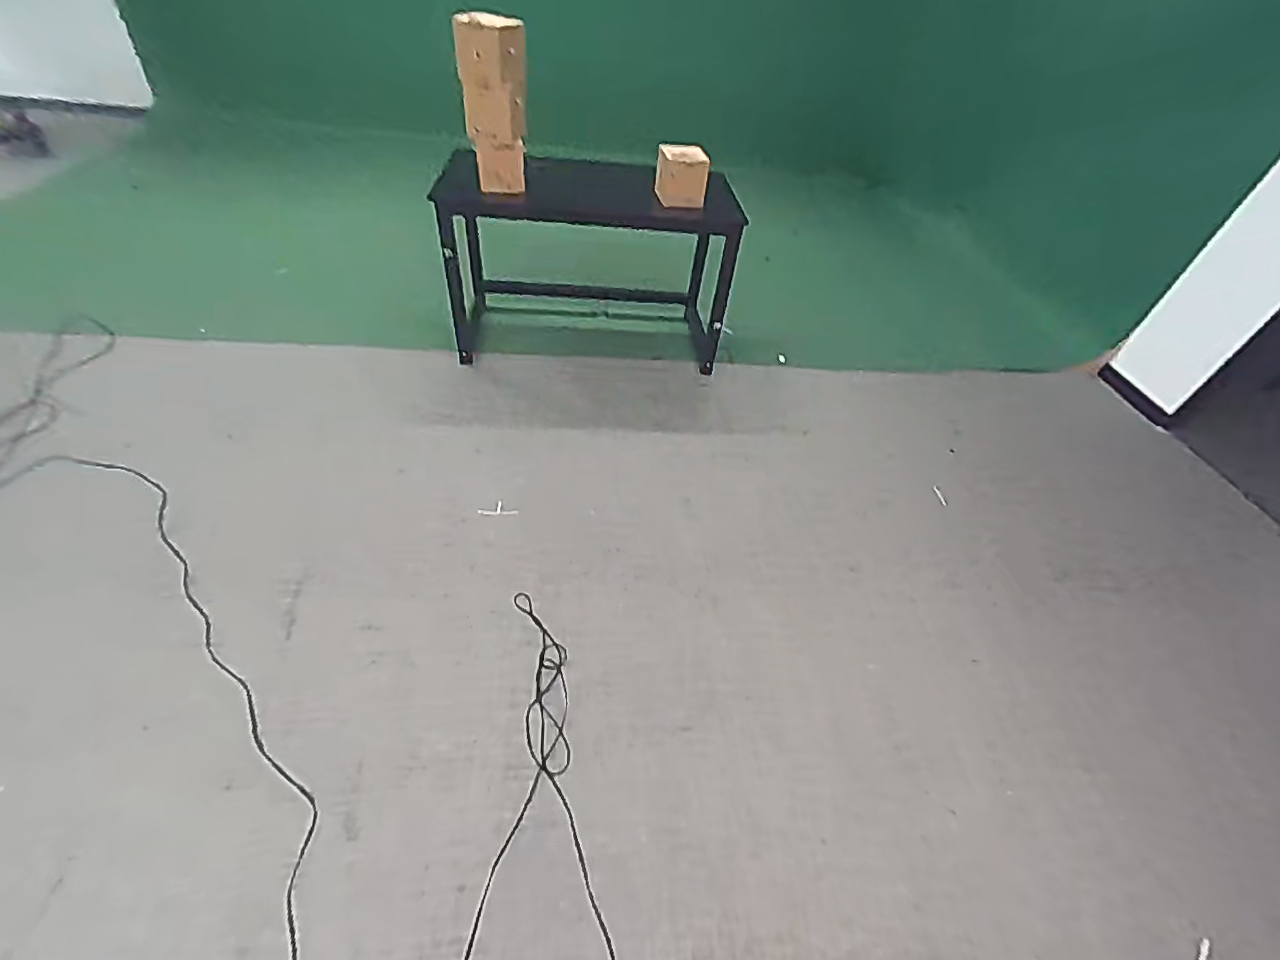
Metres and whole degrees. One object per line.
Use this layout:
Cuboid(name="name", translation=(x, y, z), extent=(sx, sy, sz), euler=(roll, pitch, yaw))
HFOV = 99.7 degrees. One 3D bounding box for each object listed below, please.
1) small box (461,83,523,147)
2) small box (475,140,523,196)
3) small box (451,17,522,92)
Cuboid(name="small box", translation=(-0.525, -1.322, 1.947), extent=(0.168, 0.176, 0.179), euler=(11, 45, 2))
Cuboid(name="small box", translation=(-0.538, -1.207, 2.064), extent=(0.168, 0.176, 0.179), euler=(-5, 48, -13))
Cuboid(name="small box", translation=(-0.511, -1.441, 1.834), extent=(0.168, 0.176, 0.179), euler=(19, 48, 9))
